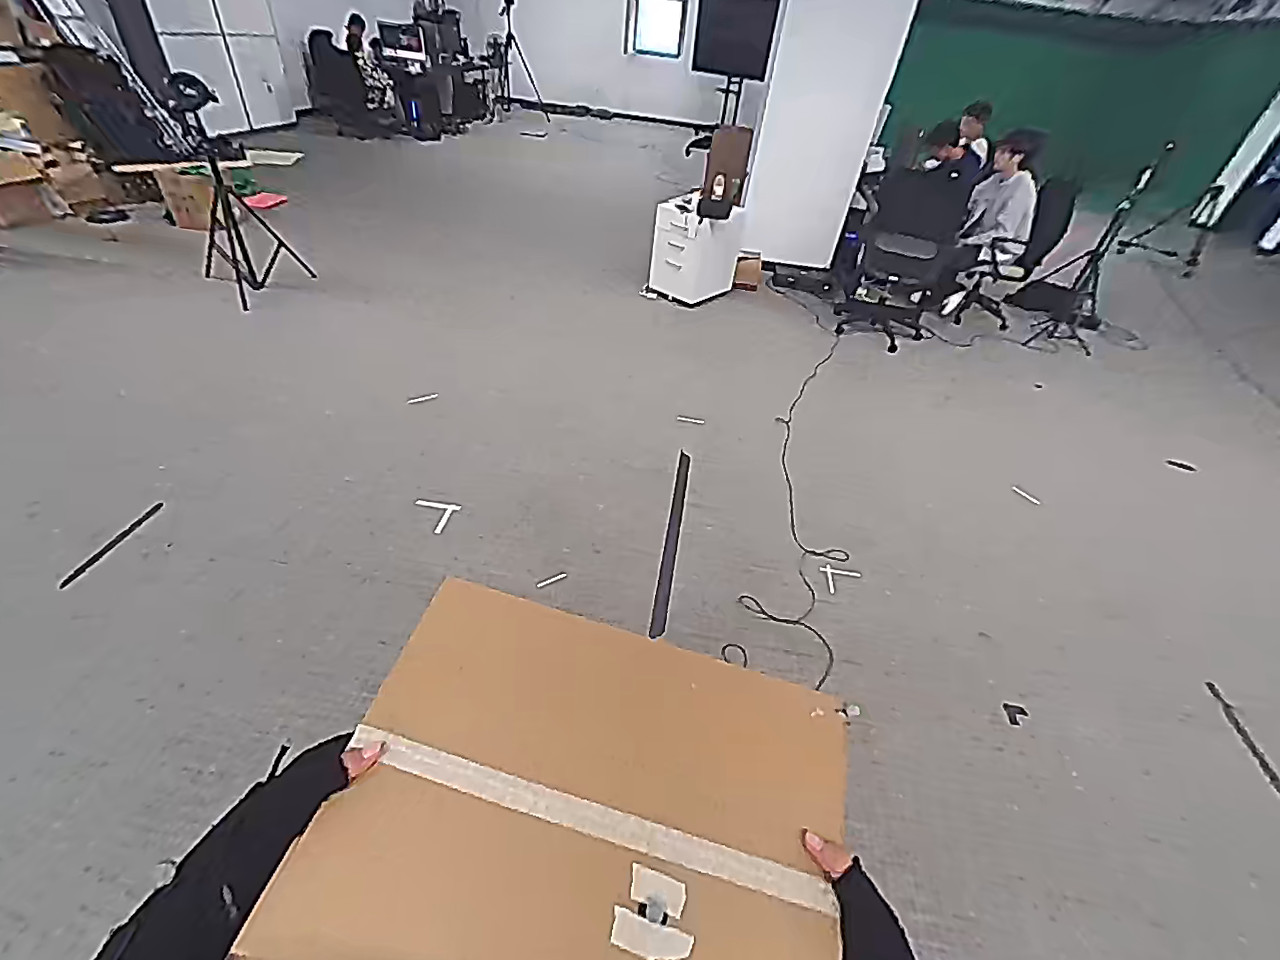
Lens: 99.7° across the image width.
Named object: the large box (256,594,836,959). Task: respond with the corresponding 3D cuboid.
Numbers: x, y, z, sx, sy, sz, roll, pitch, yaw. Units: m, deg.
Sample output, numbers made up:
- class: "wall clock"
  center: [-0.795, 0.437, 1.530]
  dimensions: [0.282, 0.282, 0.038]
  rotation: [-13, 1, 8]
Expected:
- class: "large box"
  center: [-0.057, 0.371, 0.561]
  dimensions: [0.408, 0.320, 0.320]
  rotation: [16, 52, 5]
